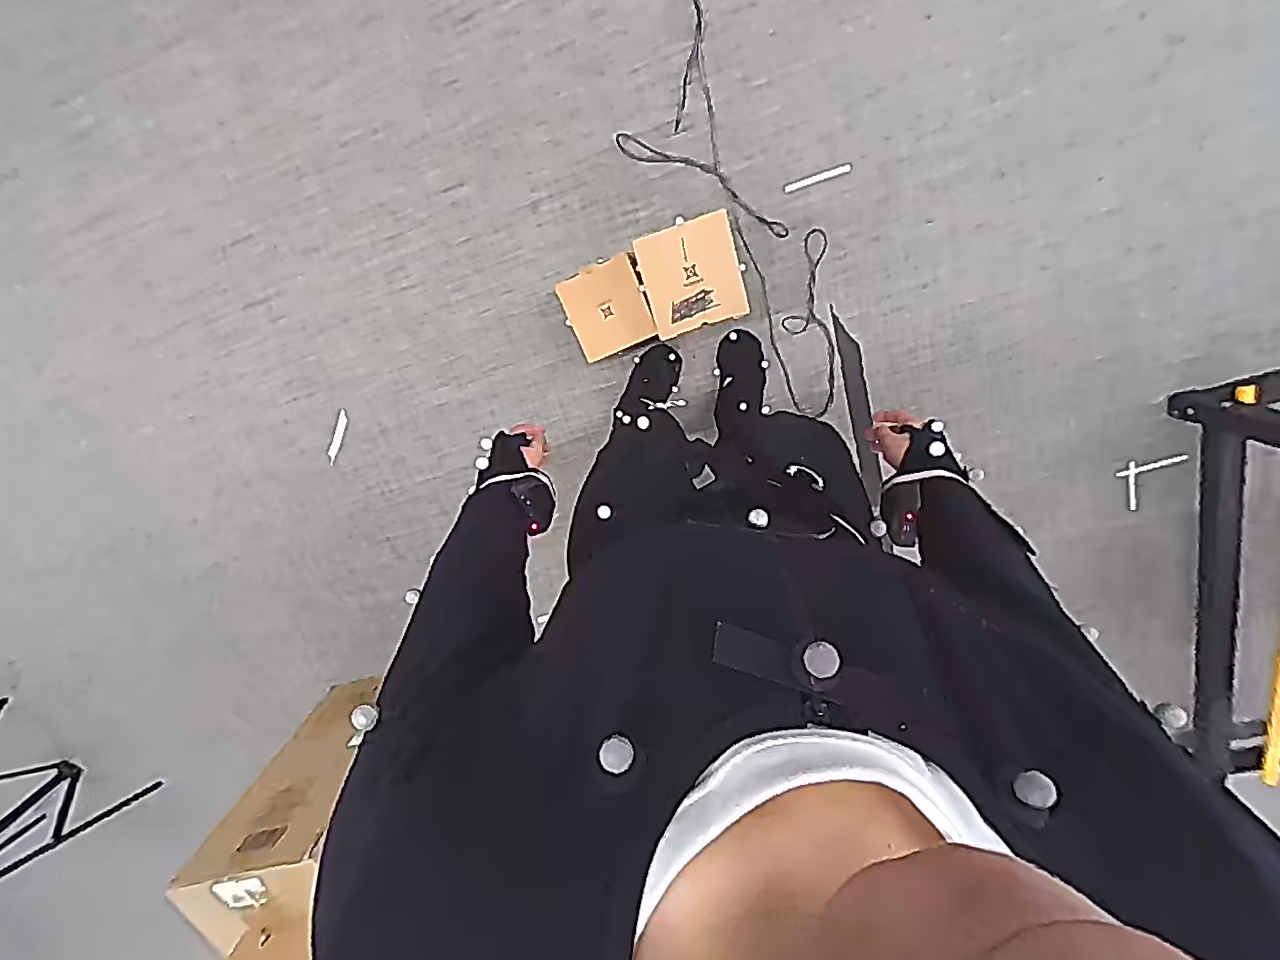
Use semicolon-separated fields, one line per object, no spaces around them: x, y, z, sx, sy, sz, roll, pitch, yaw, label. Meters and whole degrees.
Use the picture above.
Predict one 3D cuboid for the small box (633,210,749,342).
0.095;-0.371;0.990;0.168;0.176;0.179;-15;109;10;small box
